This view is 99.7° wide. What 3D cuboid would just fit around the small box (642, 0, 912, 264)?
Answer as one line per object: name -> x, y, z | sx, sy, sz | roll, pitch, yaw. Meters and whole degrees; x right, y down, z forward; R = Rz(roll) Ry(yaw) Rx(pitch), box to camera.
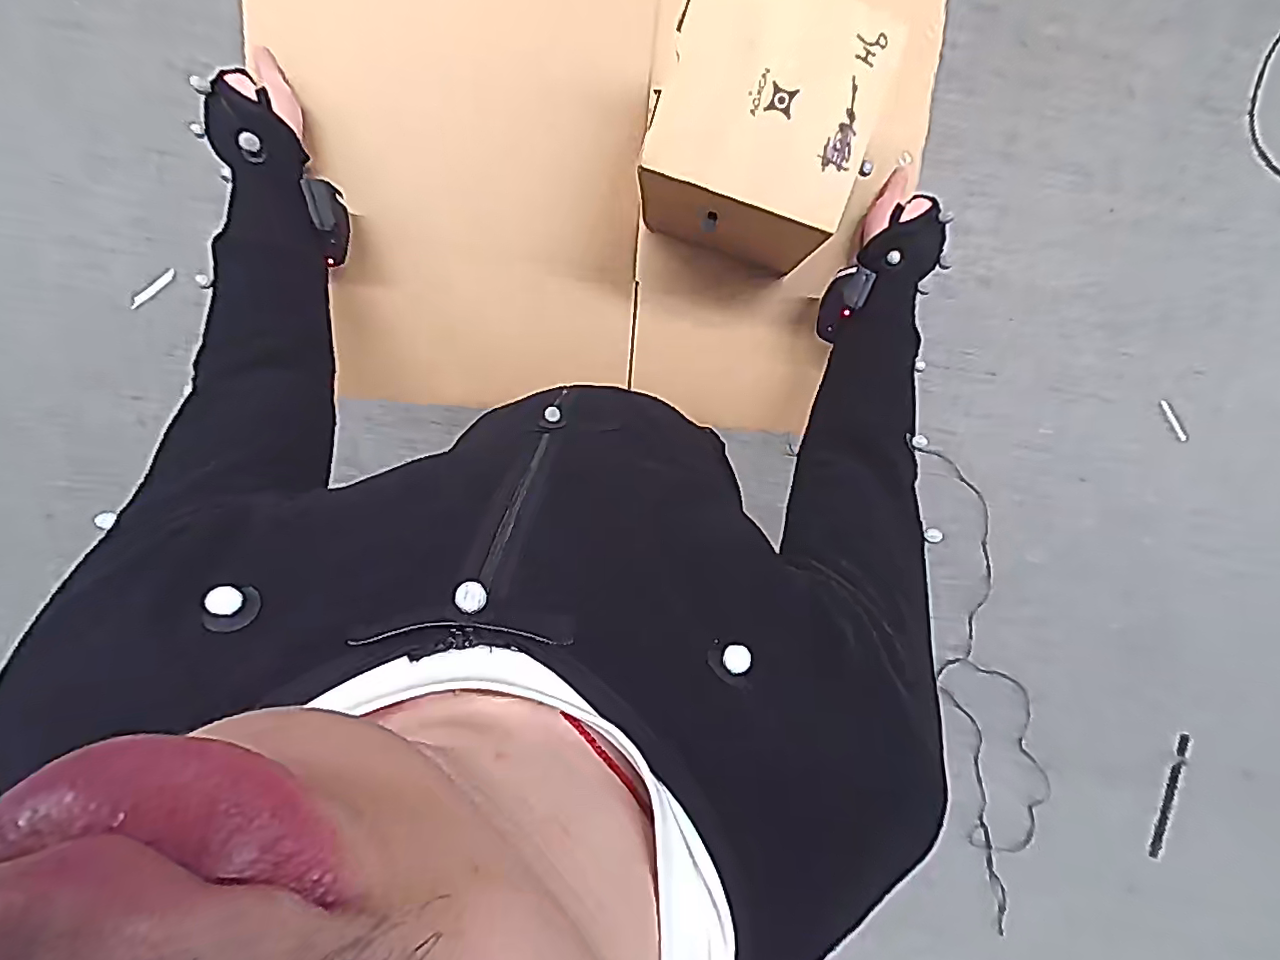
small box -> 0.112, -0.326, 0.518 | 0.179, 0.176, 0.168 | 19, 100, 0
